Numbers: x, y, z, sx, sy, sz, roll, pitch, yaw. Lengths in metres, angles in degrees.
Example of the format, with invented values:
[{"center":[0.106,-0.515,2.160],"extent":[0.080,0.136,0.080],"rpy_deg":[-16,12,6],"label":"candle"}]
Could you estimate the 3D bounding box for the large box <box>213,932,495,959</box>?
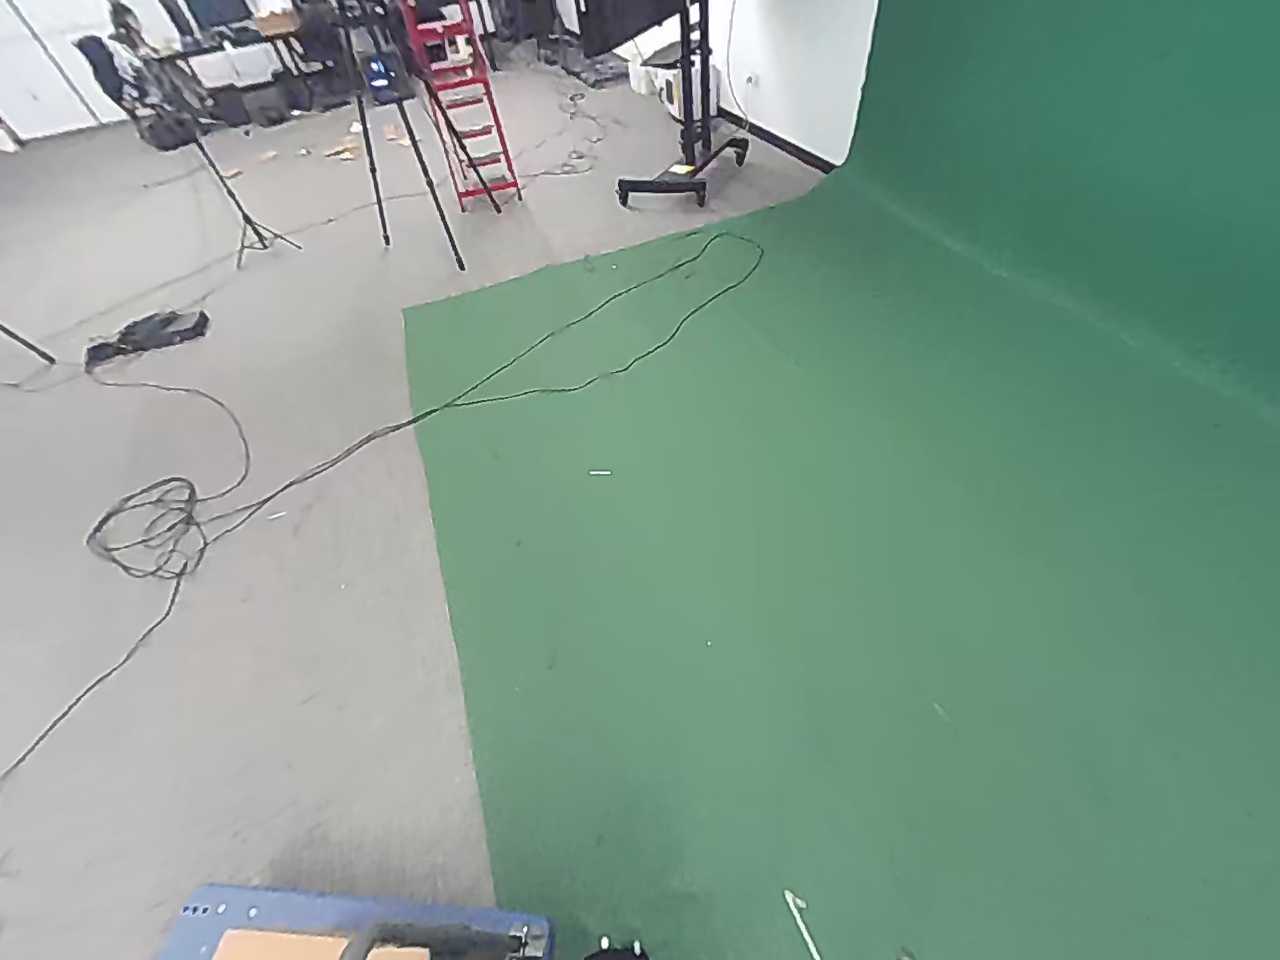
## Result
[{"center":[-0.512,0.988,0.926],"extent":[0.408,0.320,0.320],"rpy_deg":[-2,49,7],"label":"large box"}]
